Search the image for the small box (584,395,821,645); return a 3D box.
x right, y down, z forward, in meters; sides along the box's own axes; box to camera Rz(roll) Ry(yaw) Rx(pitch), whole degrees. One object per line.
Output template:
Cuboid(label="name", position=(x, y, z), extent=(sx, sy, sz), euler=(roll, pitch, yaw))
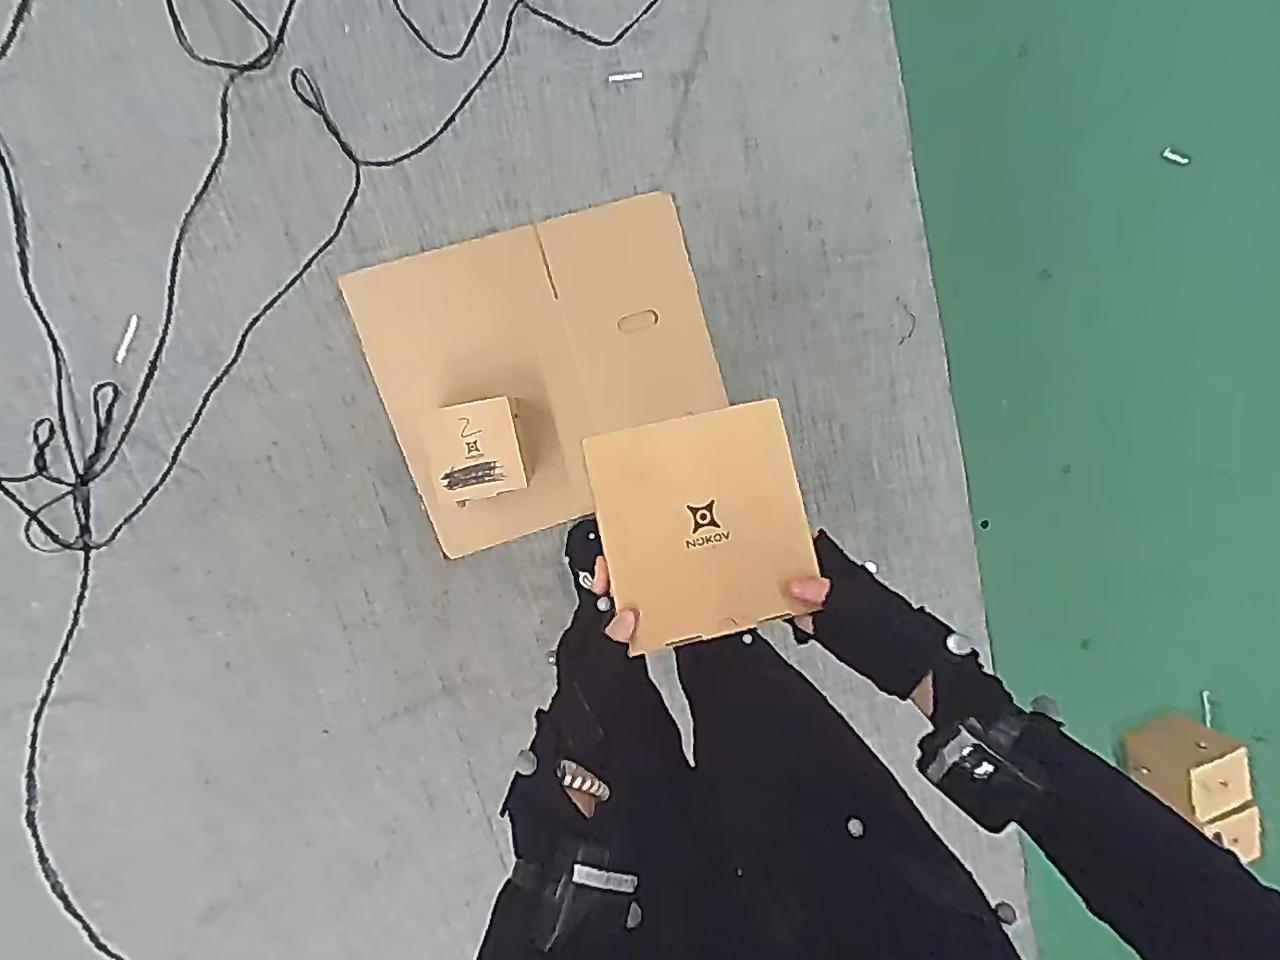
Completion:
Cuboid(label="small box", position=(0.042, 0.035, 0.512), extent=(0.168, 0.176, 0.179), euler=(-13, 88, -6))
